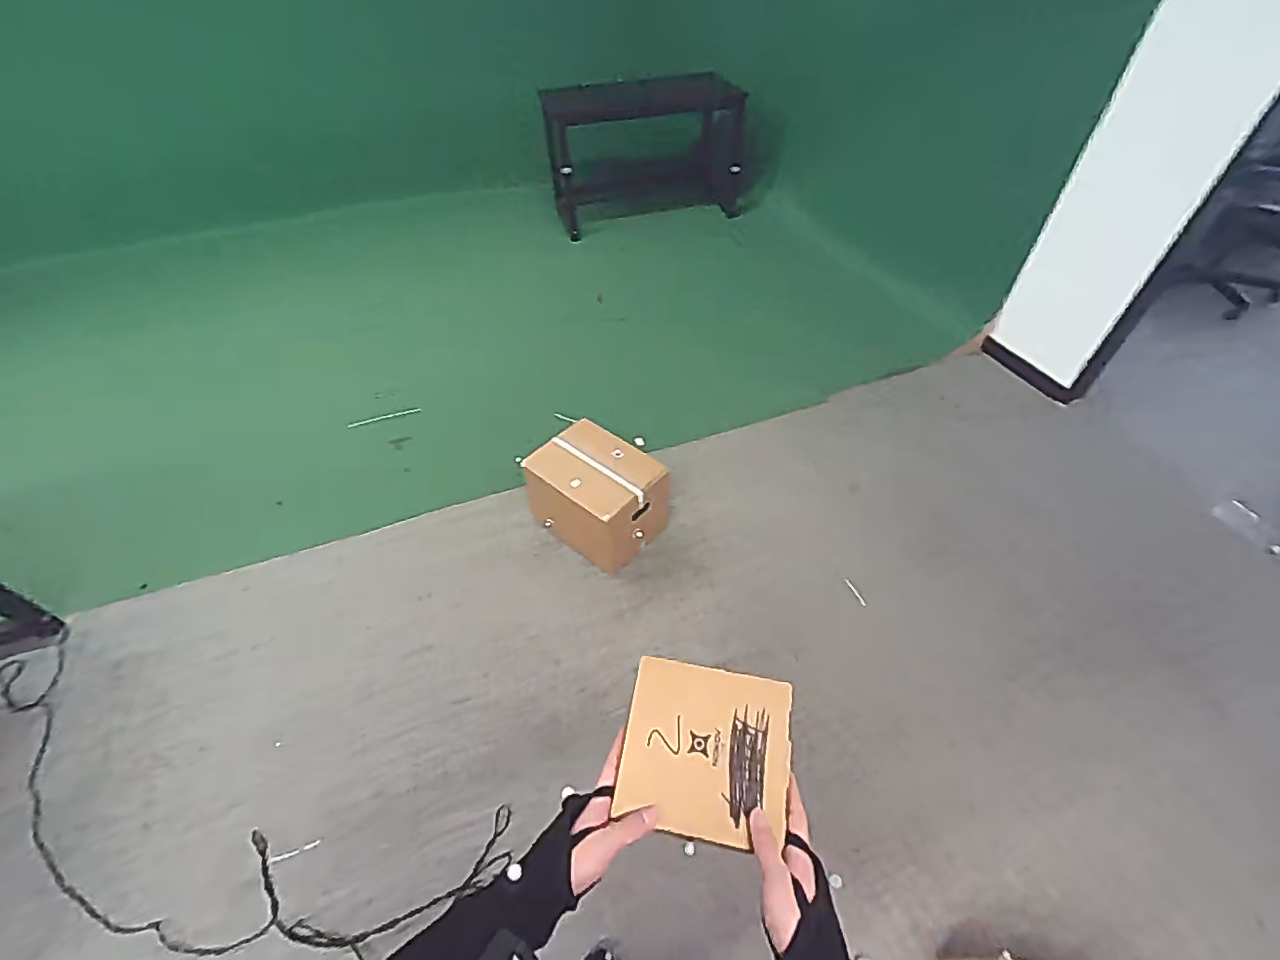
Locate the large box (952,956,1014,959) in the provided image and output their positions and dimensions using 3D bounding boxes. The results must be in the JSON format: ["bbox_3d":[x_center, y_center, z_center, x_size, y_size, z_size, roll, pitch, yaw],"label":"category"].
[{"bbox_3d":[0.756,1.129,0.939,0.320,0.320,0.408,8,48,8],"label":"large box"}]
